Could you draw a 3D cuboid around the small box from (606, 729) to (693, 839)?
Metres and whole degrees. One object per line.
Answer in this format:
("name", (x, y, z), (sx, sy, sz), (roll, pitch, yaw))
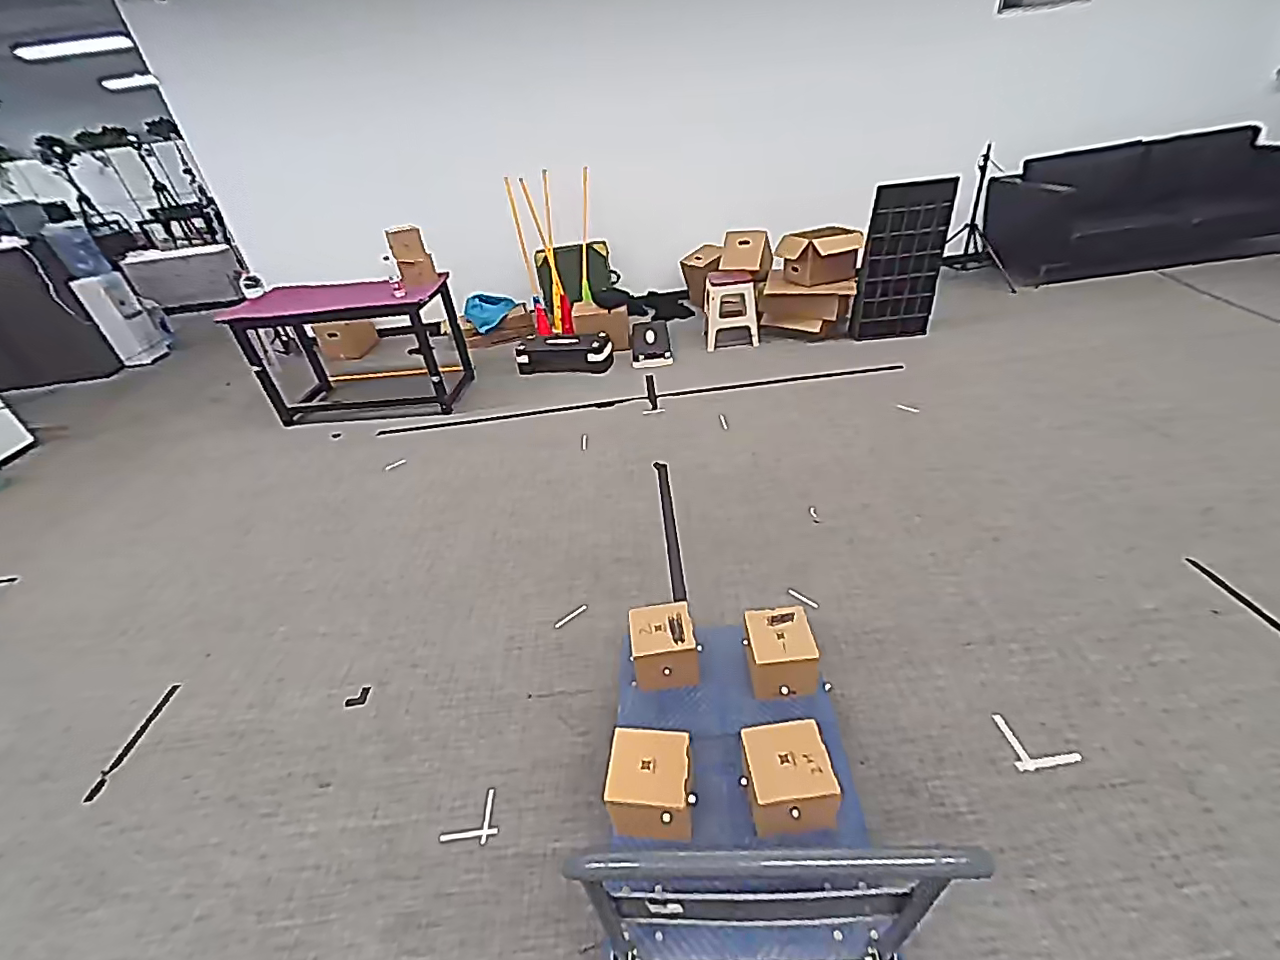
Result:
("small box", (0.029, 0.705, 1.254), (0.179, 0.176, 0.168), (0, 35, 8))

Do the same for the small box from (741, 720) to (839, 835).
("small box", (0.333, 0.679, 1.231), (0.179, 0.176, 0.168), (-8, 35, 0))

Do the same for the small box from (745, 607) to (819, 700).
("small box", (0.385, 0.481, 1.500), (0.168, 0.176, 0.179), (-7, 36, 2))
